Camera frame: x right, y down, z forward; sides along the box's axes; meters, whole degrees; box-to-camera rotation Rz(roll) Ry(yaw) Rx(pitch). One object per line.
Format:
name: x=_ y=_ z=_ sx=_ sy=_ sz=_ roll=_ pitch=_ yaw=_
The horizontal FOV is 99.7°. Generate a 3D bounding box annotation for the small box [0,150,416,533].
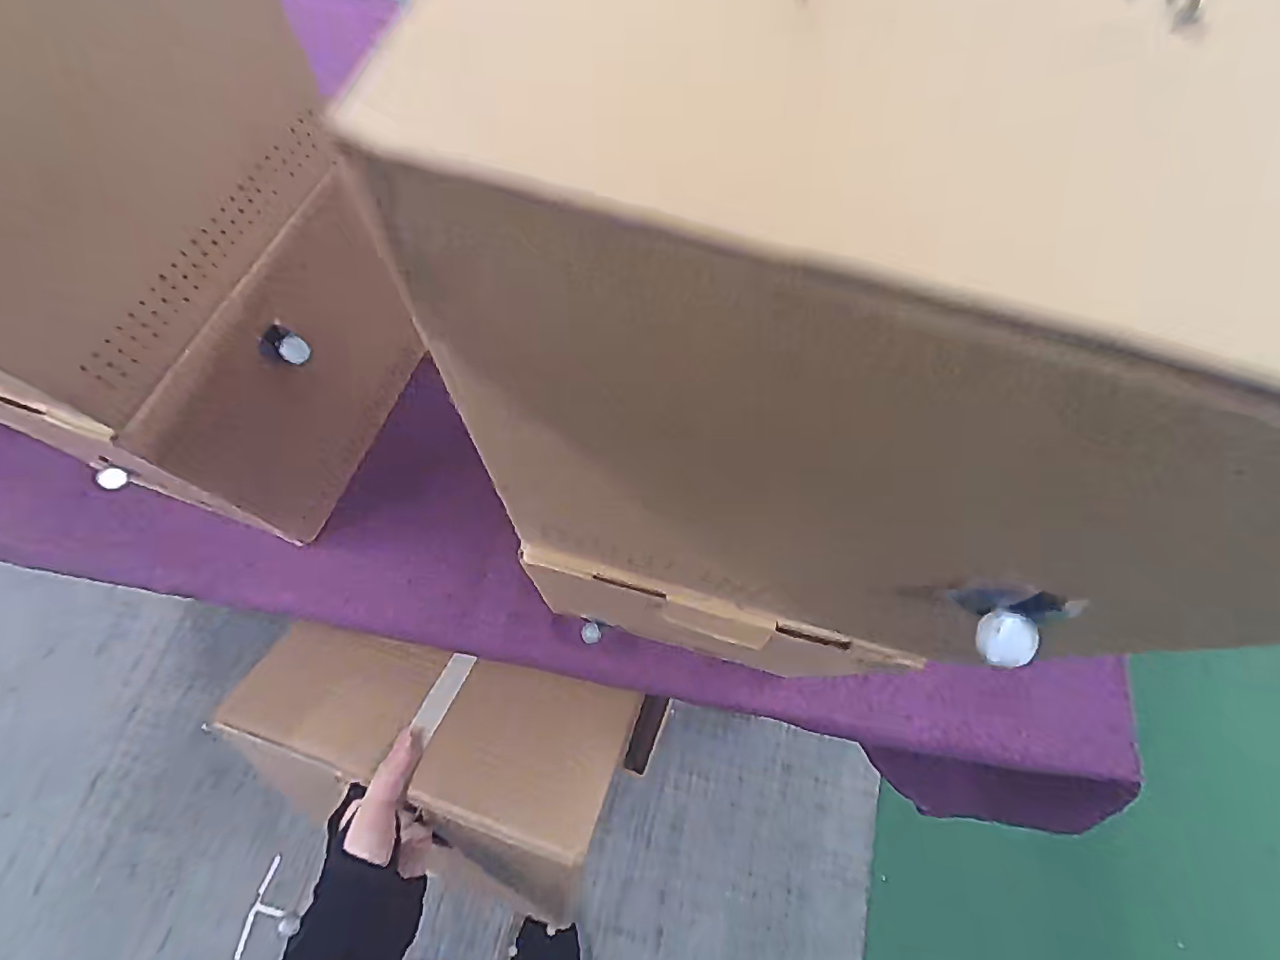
small box: x=-0.260 y=-0.089 z=0.325 sx=0.168 sy=0.176 sz=0.179 roll=20 pitch=71 yaw=3

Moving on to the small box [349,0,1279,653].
small box: x=0.064 y=-0.053 z=0.163 sx=0.179 sy=0.176 sz=0.168 roll=16 pitch=69 yaw=2

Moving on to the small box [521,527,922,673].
small box: x=0.047 y=0.005 z=0.315 sx=0.168 sy=0.176 sz=0.179 roll=15 pitch=68 yaw=1

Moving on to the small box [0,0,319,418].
small box: x=-0.244 y=-0.150 z=0.173 sx=0.168 sy=0.176 sz=0.179 roll=21 pitch=70 yaw=3
